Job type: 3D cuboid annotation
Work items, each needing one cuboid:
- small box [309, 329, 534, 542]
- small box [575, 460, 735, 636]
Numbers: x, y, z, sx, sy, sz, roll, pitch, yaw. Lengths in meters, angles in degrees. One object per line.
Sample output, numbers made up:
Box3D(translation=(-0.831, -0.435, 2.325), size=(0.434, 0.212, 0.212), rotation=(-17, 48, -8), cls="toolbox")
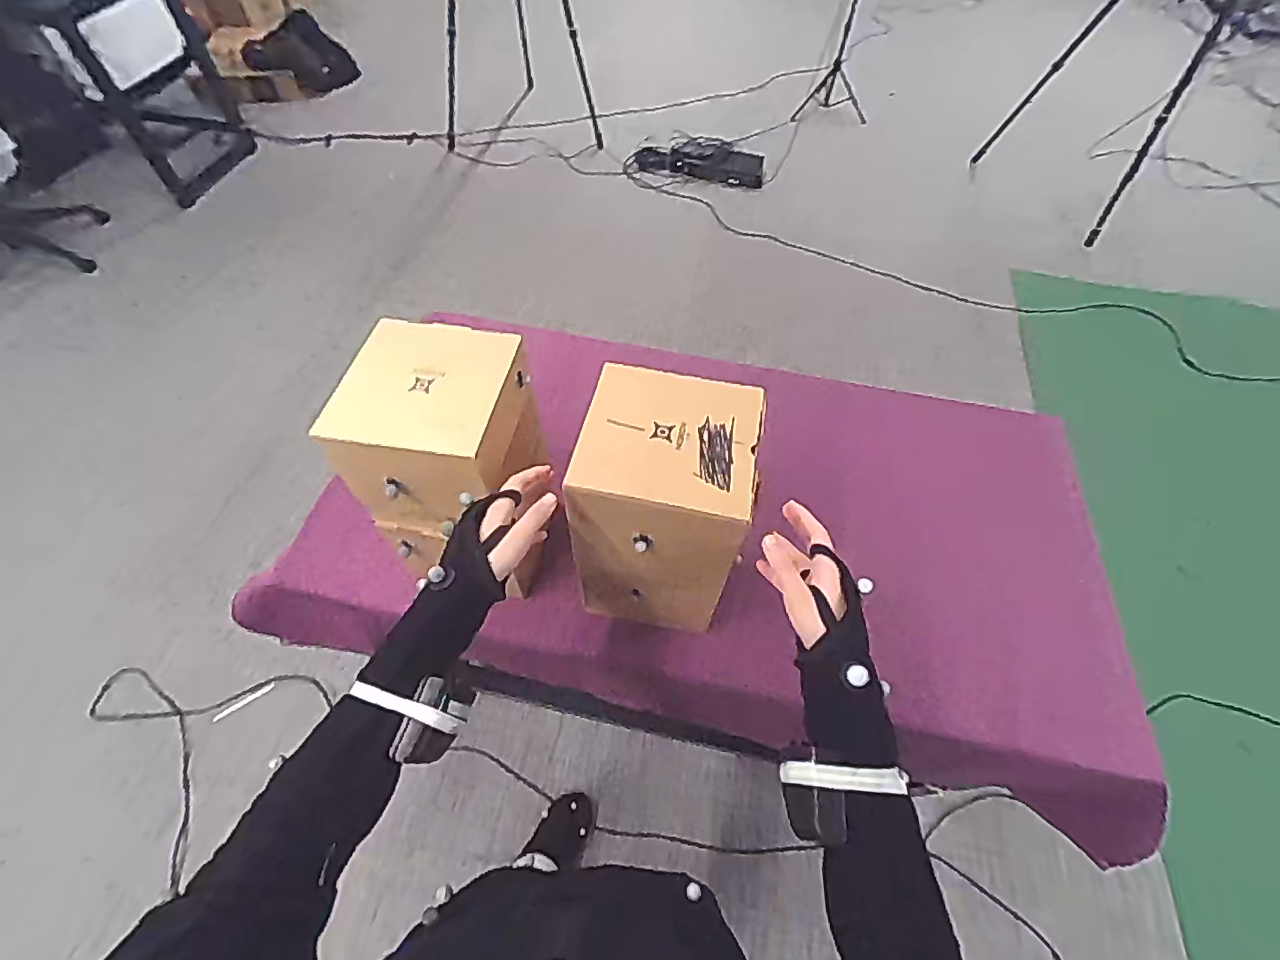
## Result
Box3D(translation=(-0.228, -0.046, 0.626), size=(0.168, 0.176, 0.179), rotation=(7, 54, 3), cls="small box")
Box3D(translation=(0.022, 0.097, 0.732), size=(0.179, 0.176, 0.168), rotation=(10, 56, 5), cls="small box")
